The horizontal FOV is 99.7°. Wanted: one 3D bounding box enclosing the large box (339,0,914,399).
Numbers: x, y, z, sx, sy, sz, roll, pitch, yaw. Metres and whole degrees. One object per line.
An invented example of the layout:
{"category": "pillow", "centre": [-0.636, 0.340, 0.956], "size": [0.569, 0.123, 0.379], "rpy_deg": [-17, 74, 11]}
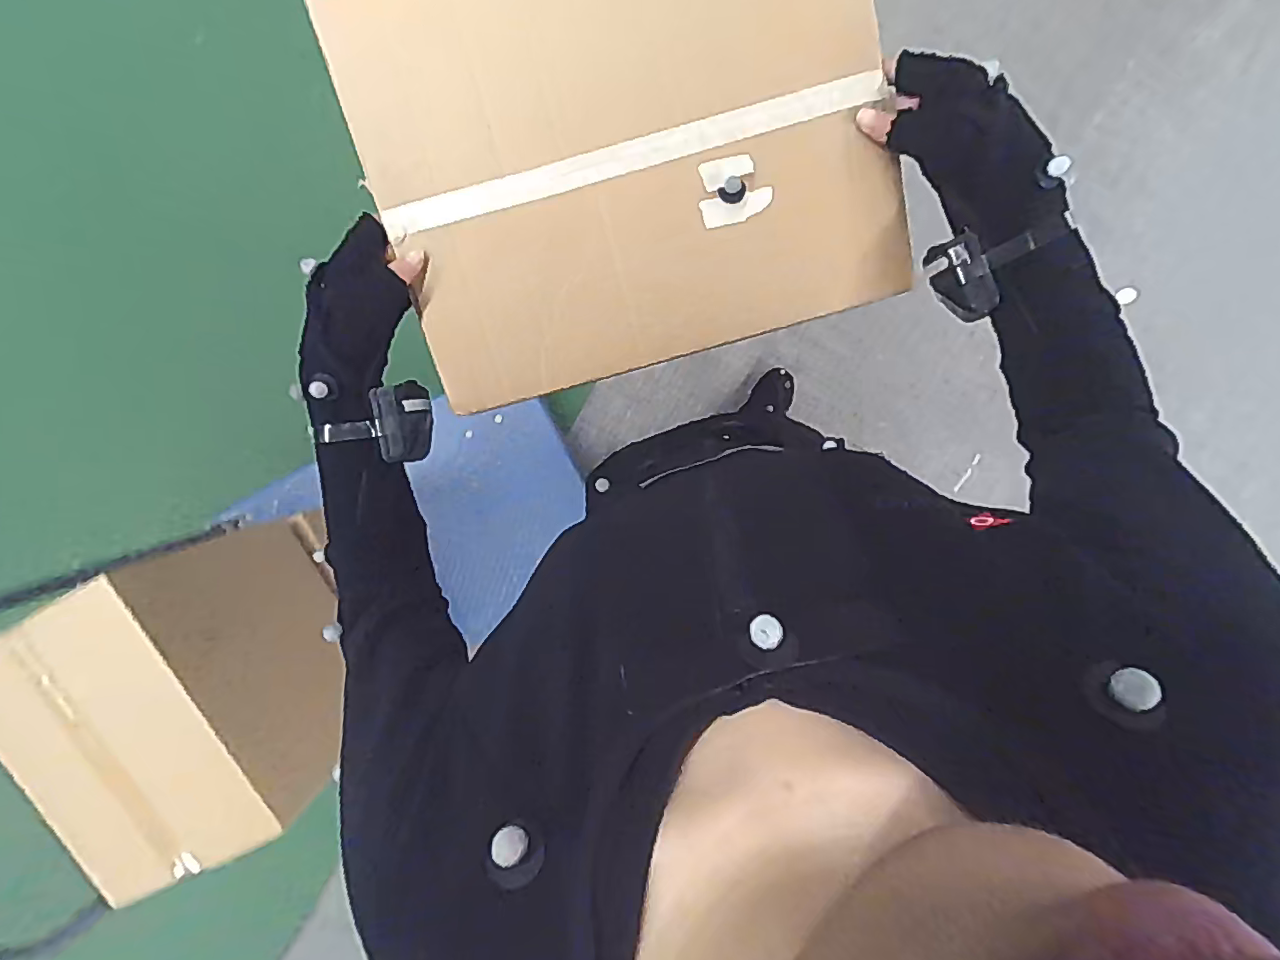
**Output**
{"category": "large box", "centre": [-0.005, -0.293, 0.572], "size": [0.408, 0.320, 0.320], "rpy_deg": [-15, 103, -1]}
